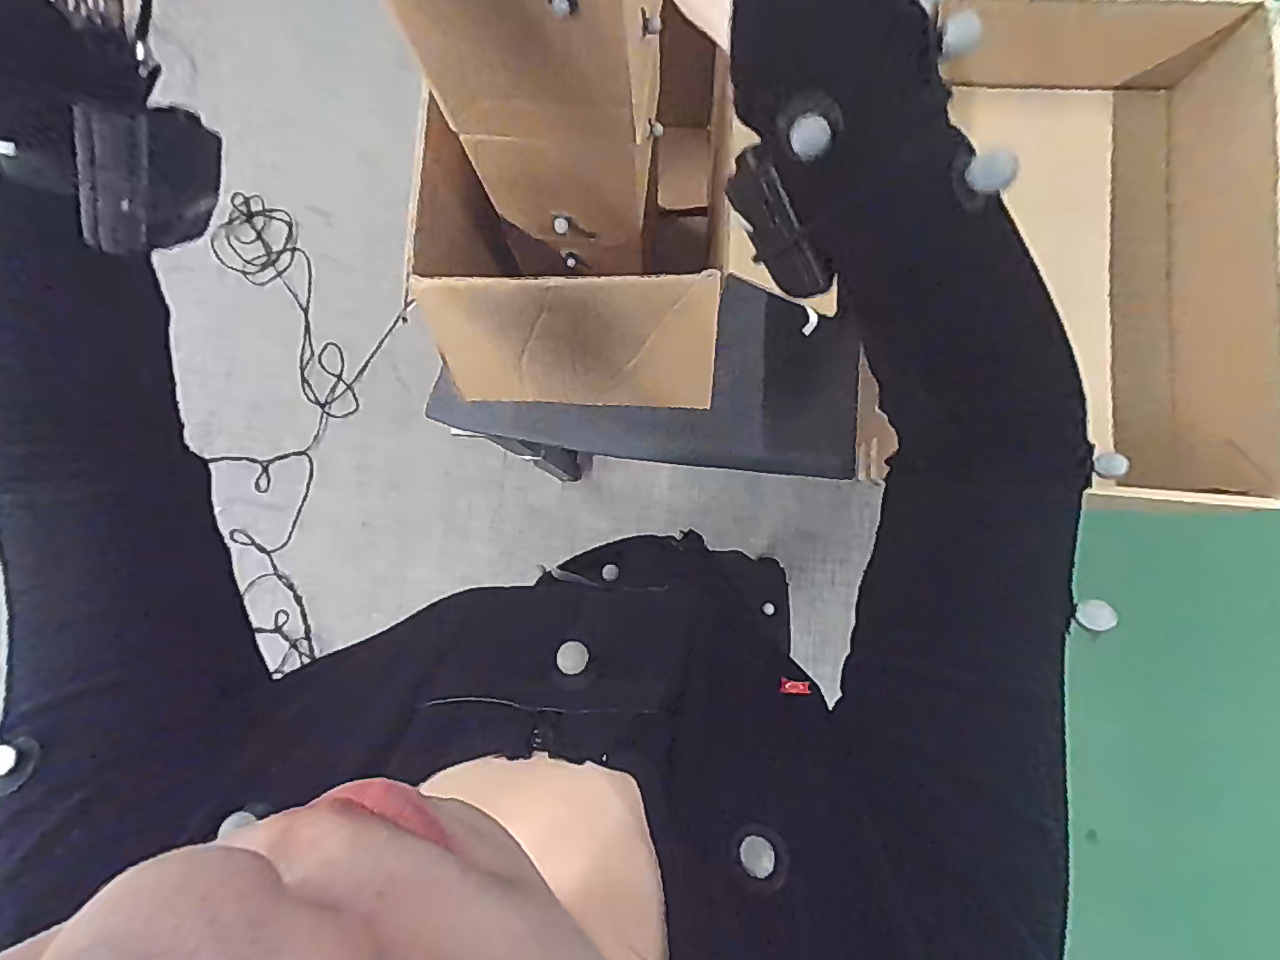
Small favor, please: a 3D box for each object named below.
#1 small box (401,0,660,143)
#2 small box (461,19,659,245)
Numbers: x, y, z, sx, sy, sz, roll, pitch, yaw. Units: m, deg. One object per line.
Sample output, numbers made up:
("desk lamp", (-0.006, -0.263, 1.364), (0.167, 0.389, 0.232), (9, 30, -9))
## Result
("small box", (-0.081, -0.399, 0.421), (0.179, 0.176, 0.168), (8, 84, 3))
("small box", (-0.072, -0.385, 0.582), (0.168, 0.176, 0.179), (7, 86, 3))
